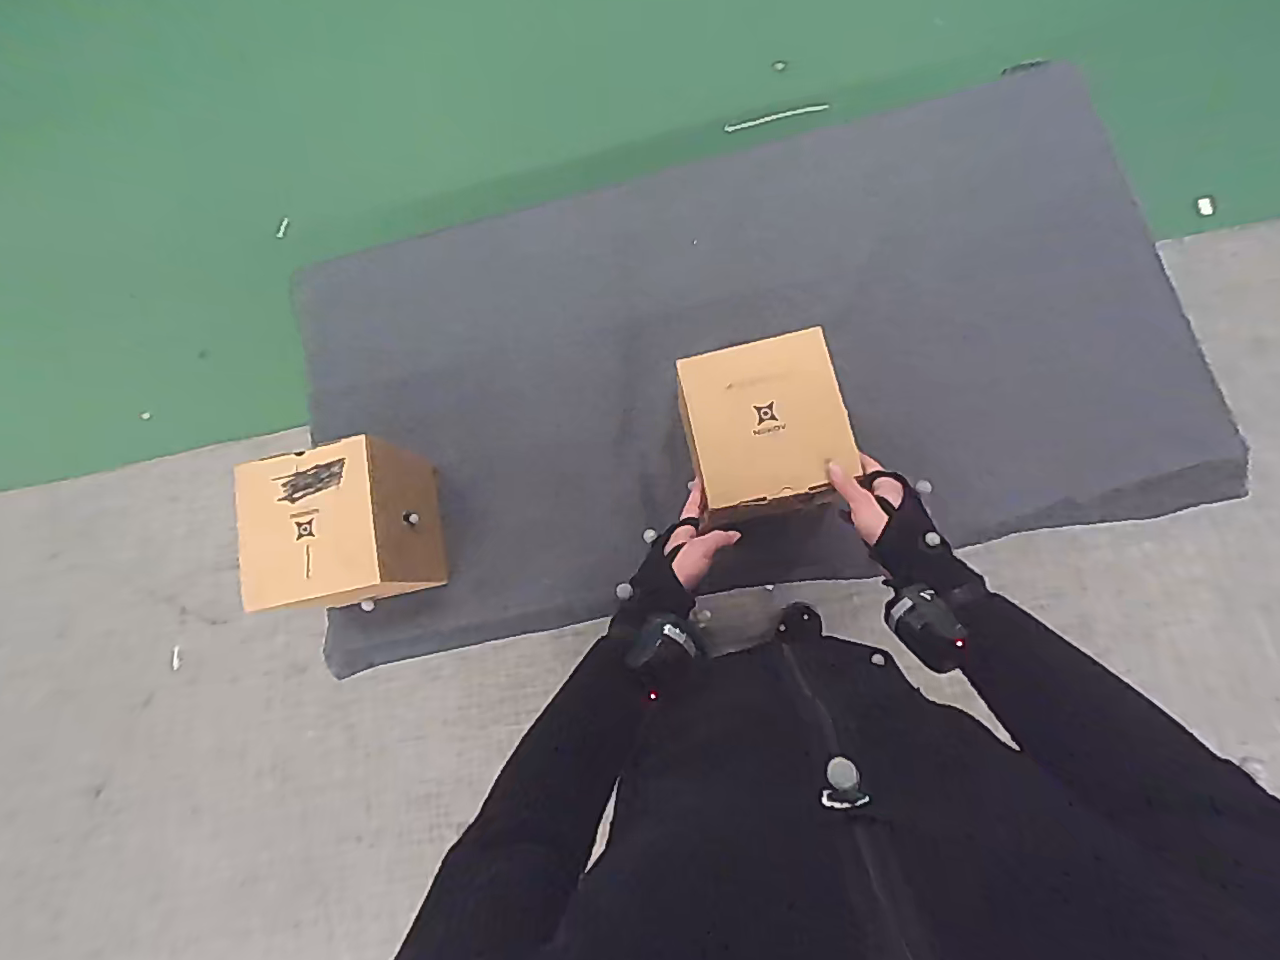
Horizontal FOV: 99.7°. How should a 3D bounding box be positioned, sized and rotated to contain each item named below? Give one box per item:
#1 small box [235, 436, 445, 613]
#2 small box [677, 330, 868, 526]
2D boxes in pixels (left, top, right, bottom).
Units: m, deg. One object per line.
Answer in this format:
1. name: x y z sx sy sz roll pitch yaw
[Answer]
1. small box: -0.365 0.064 0.680 0.168 0.176 0.179 -12 78 4
2. small box: 0.146 -0.047 0.649 0.168 0.176 0.179 -14 76 2
